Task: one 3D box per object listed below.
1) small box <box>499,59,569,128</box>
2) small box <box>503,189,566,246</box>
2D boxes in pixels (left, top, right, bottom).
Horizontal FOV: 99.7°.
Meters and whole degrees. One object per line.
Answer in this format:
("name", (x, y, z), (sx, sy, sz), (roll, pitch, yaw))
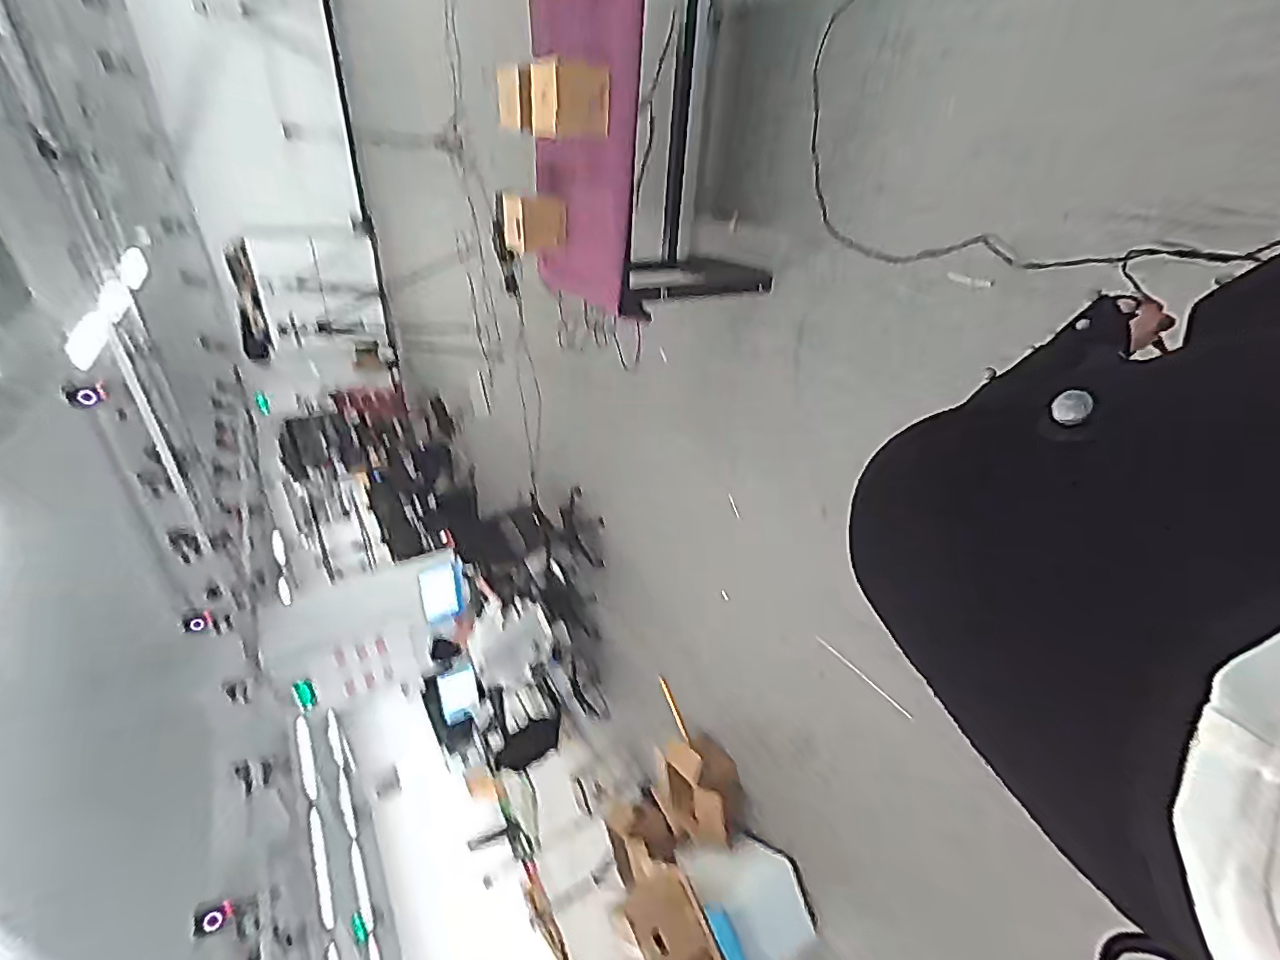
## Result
("small box", (-0.344, -1.248, 1.752), (0.179, 0.176, 0.168), (41, 137, 43))
("small box", (-0.376, -0.944, 1.939), (0.179, 0.176, 0.168), (41, 136, 45))
